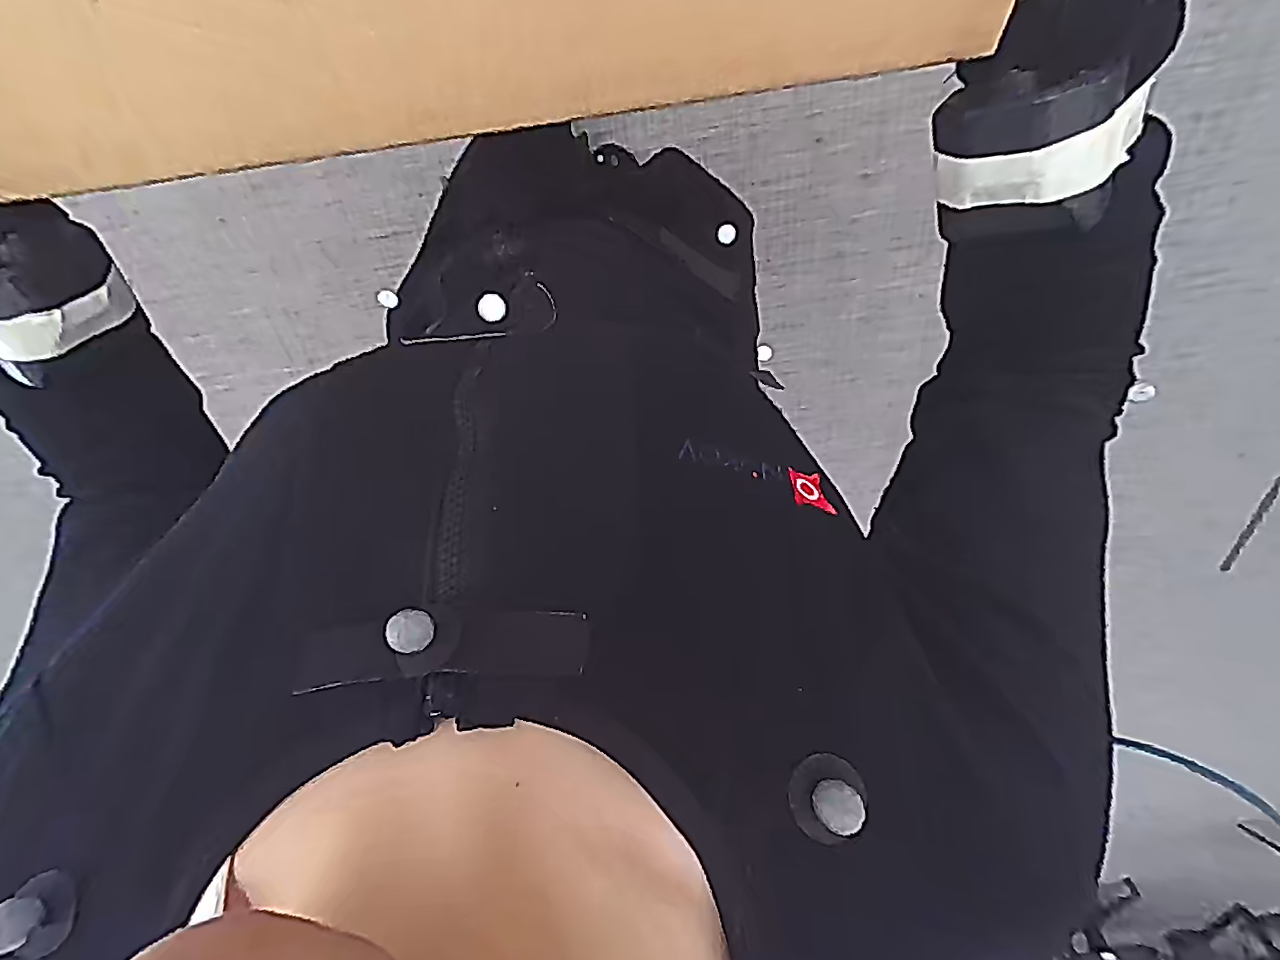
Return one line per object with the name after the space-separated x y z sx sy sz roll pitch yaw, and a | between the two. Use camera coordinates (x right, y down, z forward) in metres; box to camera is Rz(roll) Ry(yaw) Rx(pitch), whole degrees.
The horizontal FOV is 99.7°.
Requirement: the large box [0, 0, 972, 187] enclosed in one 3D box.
-0.096 -0.357 0.186 0.408 0.320 0.320 -7 142 2 | large box
